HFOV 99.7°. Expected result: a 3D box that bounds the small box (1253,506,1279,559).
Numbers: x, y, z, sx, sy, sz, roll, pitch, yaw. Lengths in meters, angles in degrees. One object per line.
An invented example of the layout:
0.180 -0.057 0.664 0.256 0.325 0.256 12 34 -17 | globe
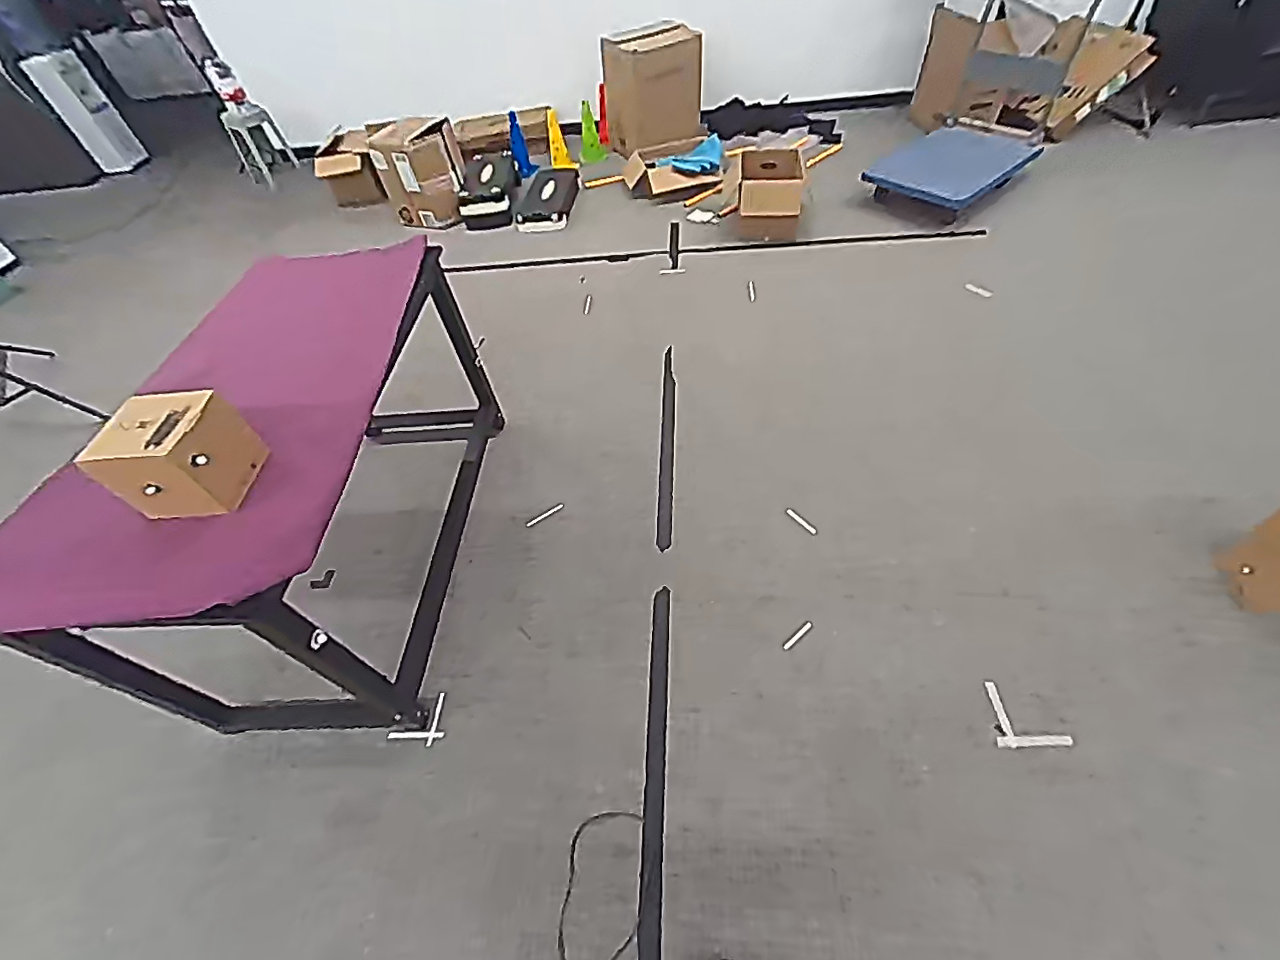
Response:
1.683 0.132 1.304 0.168 0.176 0.179 -7 49 2 | small box

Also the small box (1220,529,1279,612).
1.708 0.240 1.424 0.179 0.176 0.168 0 51 7 | small box
